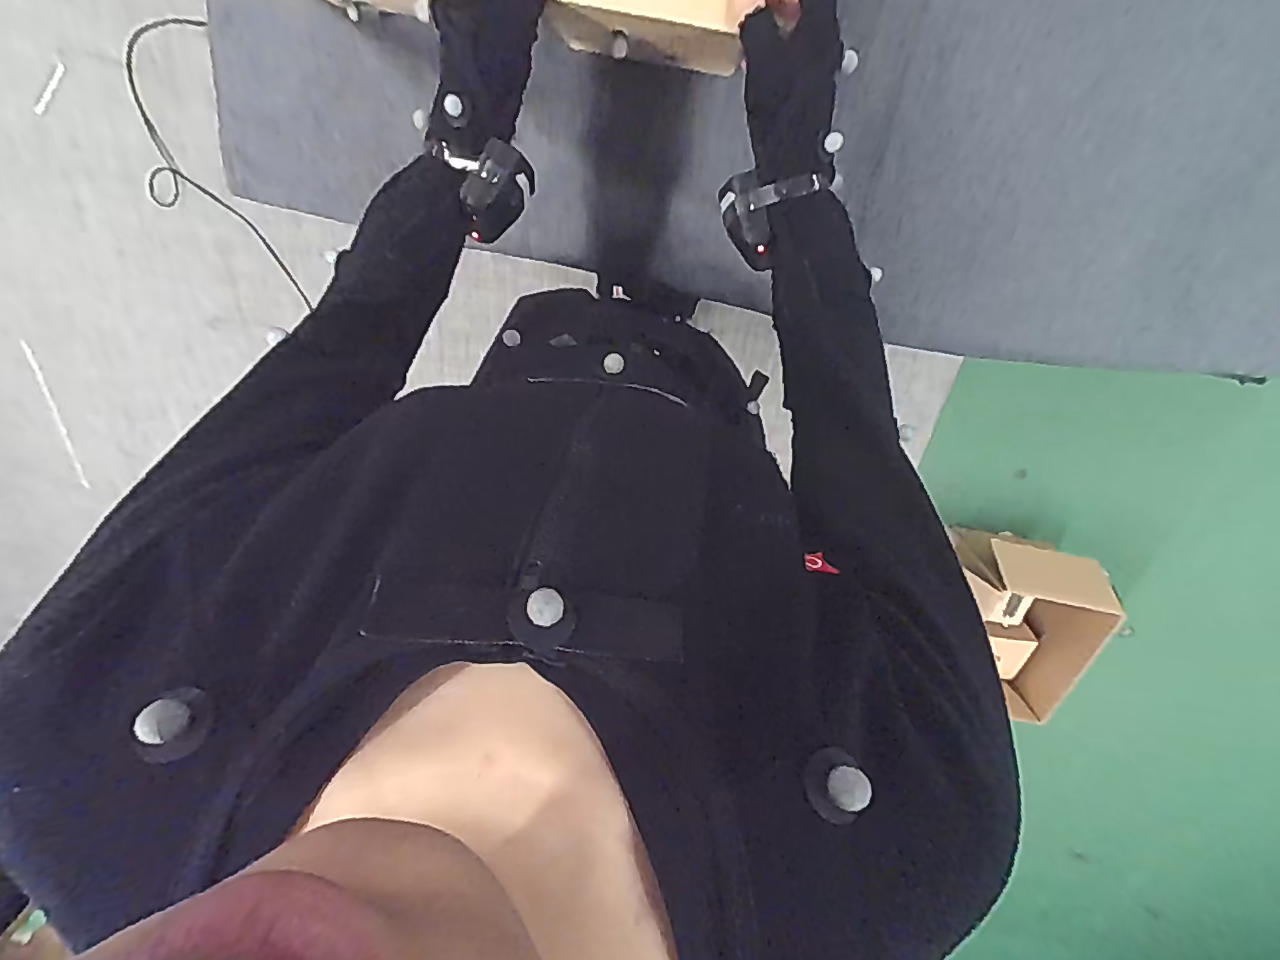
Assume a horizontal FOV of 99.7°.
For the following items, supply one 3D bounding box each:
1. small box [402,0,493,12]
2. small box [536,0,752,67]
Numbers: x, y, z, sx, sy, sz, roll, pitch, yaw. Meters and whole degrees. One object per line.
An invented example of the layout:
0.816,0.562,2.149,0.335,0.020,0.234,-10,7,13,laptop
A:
-0.214,-0.494,0.411,0.168,0.176,0.179,7,117,1,small box
0.018,-0.450,0.419,0.168,0.176,0.179,10,118,0,small box
